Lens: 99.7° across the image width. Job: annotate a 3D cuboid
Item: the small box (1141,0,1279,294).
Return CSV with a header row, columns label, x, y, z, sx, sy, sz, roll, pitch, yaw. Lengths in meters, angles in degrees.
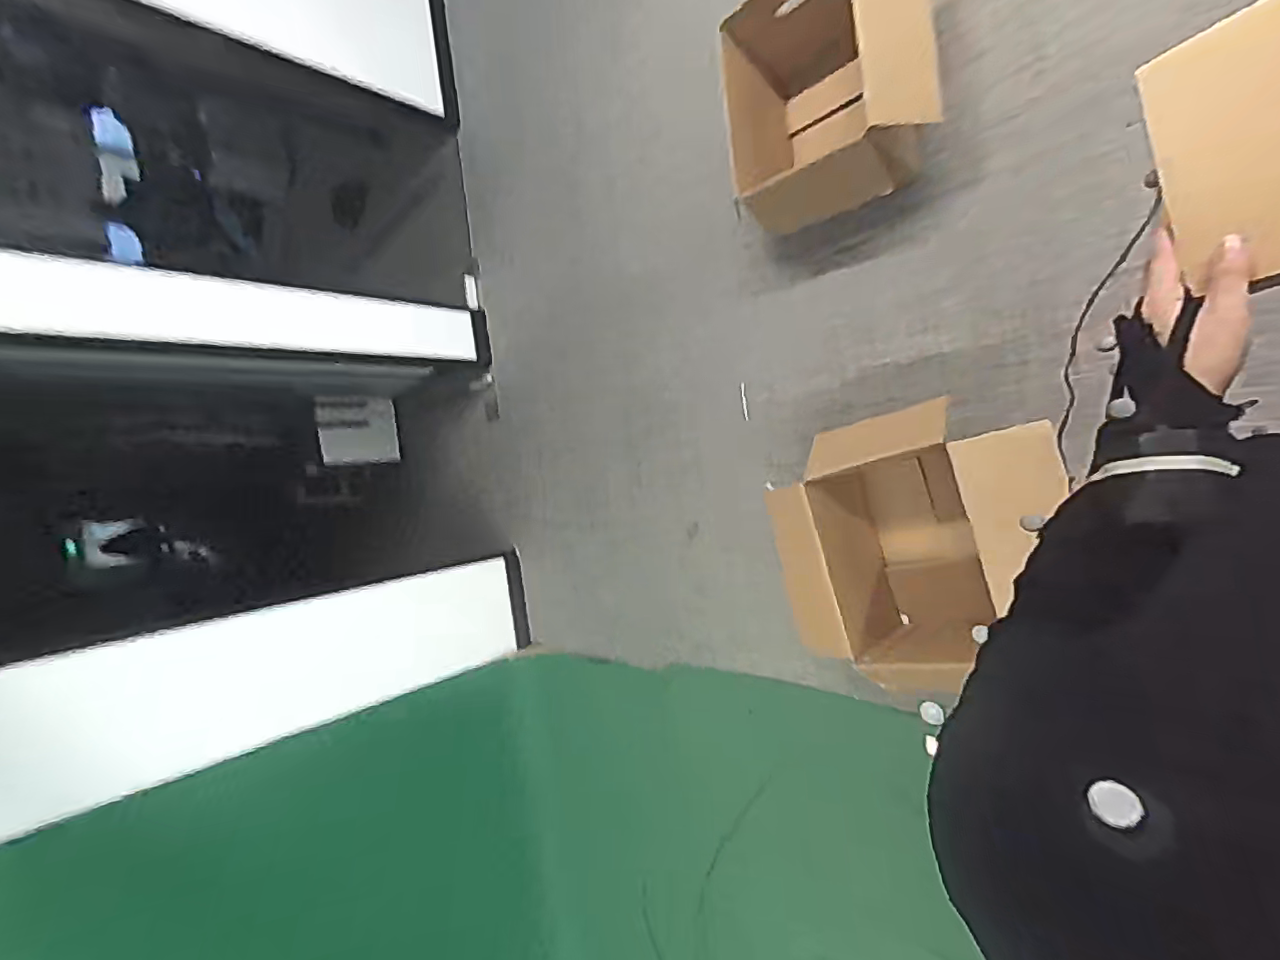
label,x,y,z,sx,sy,sz,roll,pitch,yaw
small box,0.471,-0.231,0.350,0.179,0.176,0.168,-12,91,51
